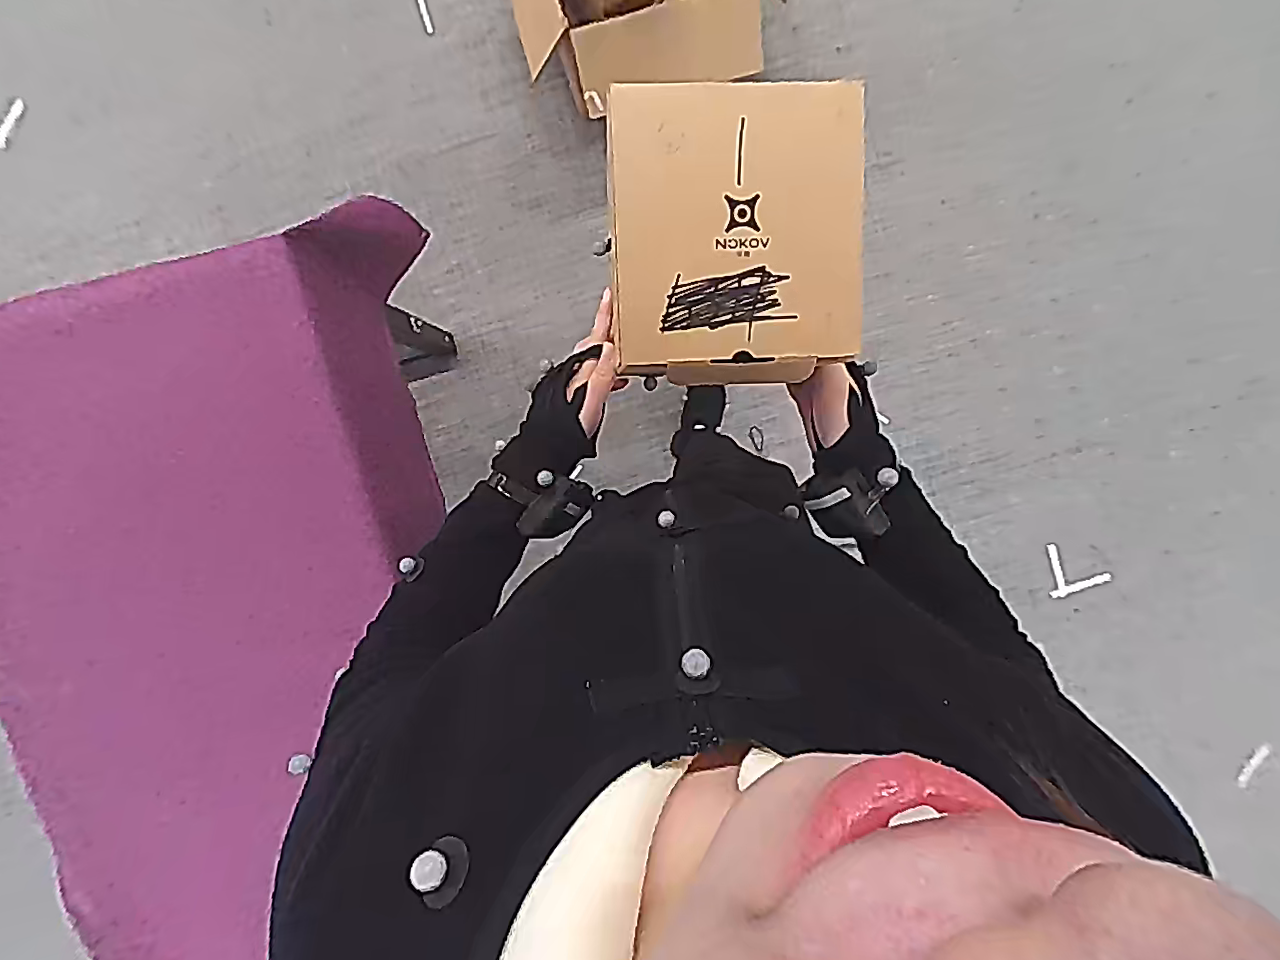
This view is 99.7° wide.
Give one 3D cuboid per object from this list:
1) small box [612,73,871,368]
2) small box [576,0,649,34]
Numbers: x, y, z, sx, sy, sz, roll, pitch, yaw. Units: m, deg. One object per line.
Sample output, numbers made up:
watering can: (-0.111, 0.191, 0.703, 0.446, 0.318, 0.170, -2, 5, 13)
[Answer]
small box: (0.063, -0.181, 0.431, 0.168, 0.176, 0.179, -2, 98, -4)
small box: (-0.065, -1.081, 1.106, 0.179, 0.176, 0.168, -38, 99, 0)
